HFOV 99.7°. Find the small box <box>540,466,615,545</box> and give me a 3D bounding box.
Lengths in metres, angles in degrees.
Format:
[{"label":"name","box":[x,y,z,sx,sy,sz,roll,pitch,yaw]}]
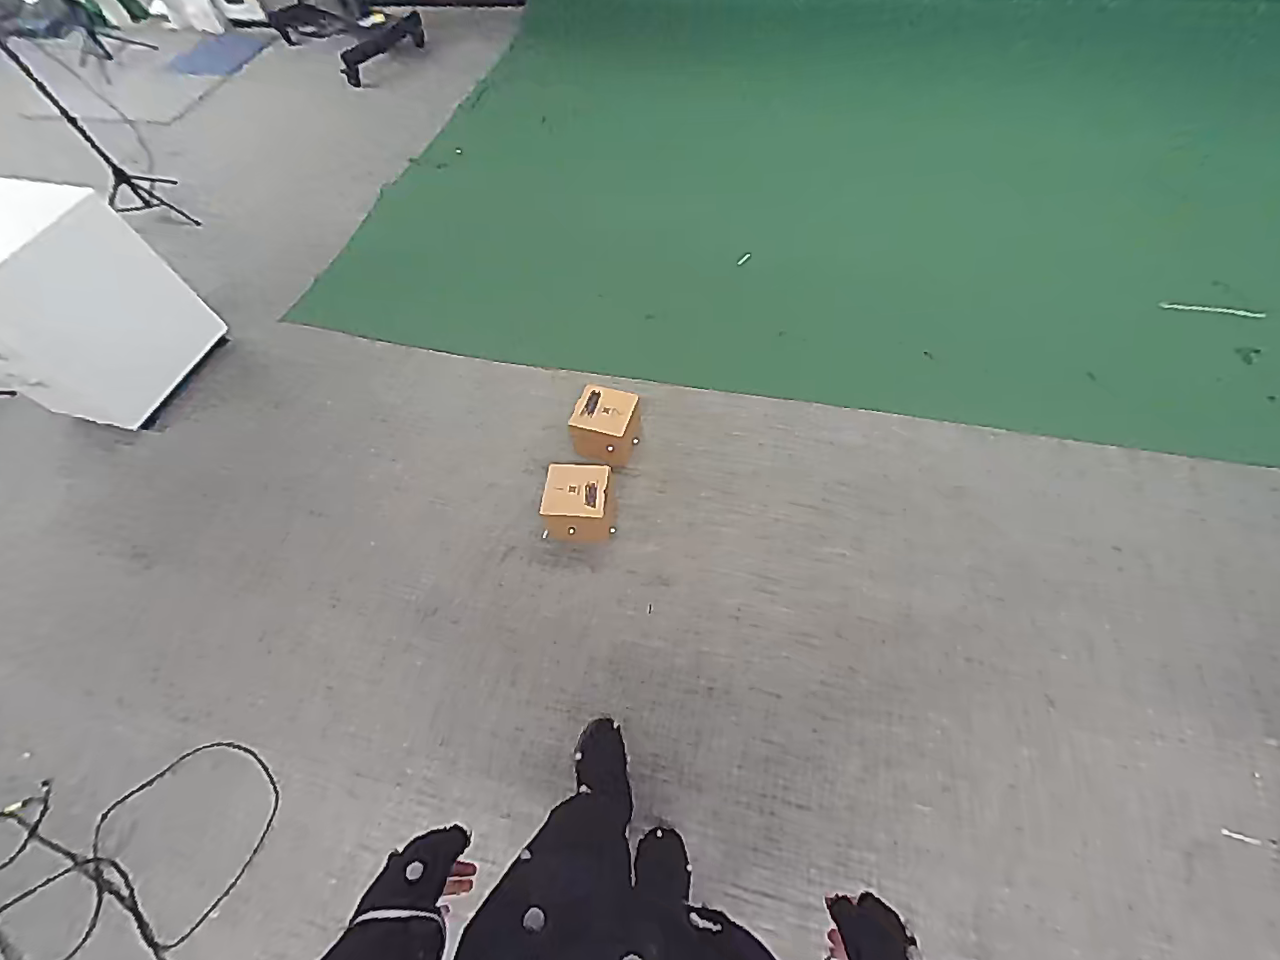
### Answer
[{"label":"small box","box":[-0.171,0.077,1.550,0.179,0.176,0.168,2,58,7]}]
